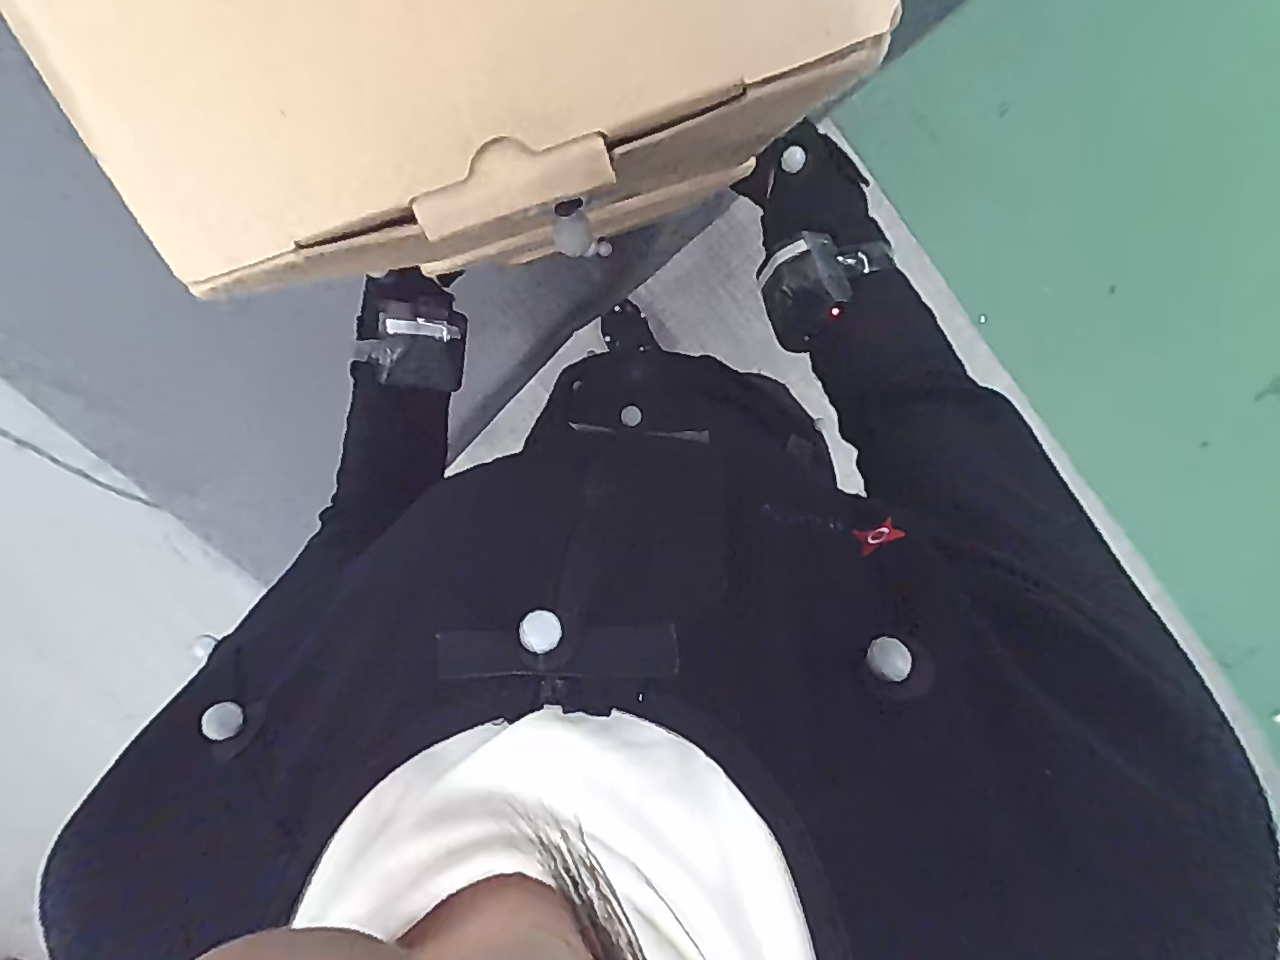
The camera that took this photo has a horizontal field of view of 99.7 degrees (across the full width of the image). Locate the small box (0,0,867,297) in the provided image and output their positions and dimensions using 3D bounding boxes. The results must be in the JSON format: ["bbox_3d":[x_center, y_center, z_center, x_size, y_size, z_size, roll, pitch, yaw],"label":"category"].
[{"bbox_3d":[-0.051,-0.172,0.156,0.168,0.176,0.179,-13,115,7],"label":"small box"}]

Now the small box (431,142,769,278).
[{"bbox_3d":[-0.045,-0.232,0.308,0.179,0.176,0.168,-17,114,7],"label":"small box"}]
